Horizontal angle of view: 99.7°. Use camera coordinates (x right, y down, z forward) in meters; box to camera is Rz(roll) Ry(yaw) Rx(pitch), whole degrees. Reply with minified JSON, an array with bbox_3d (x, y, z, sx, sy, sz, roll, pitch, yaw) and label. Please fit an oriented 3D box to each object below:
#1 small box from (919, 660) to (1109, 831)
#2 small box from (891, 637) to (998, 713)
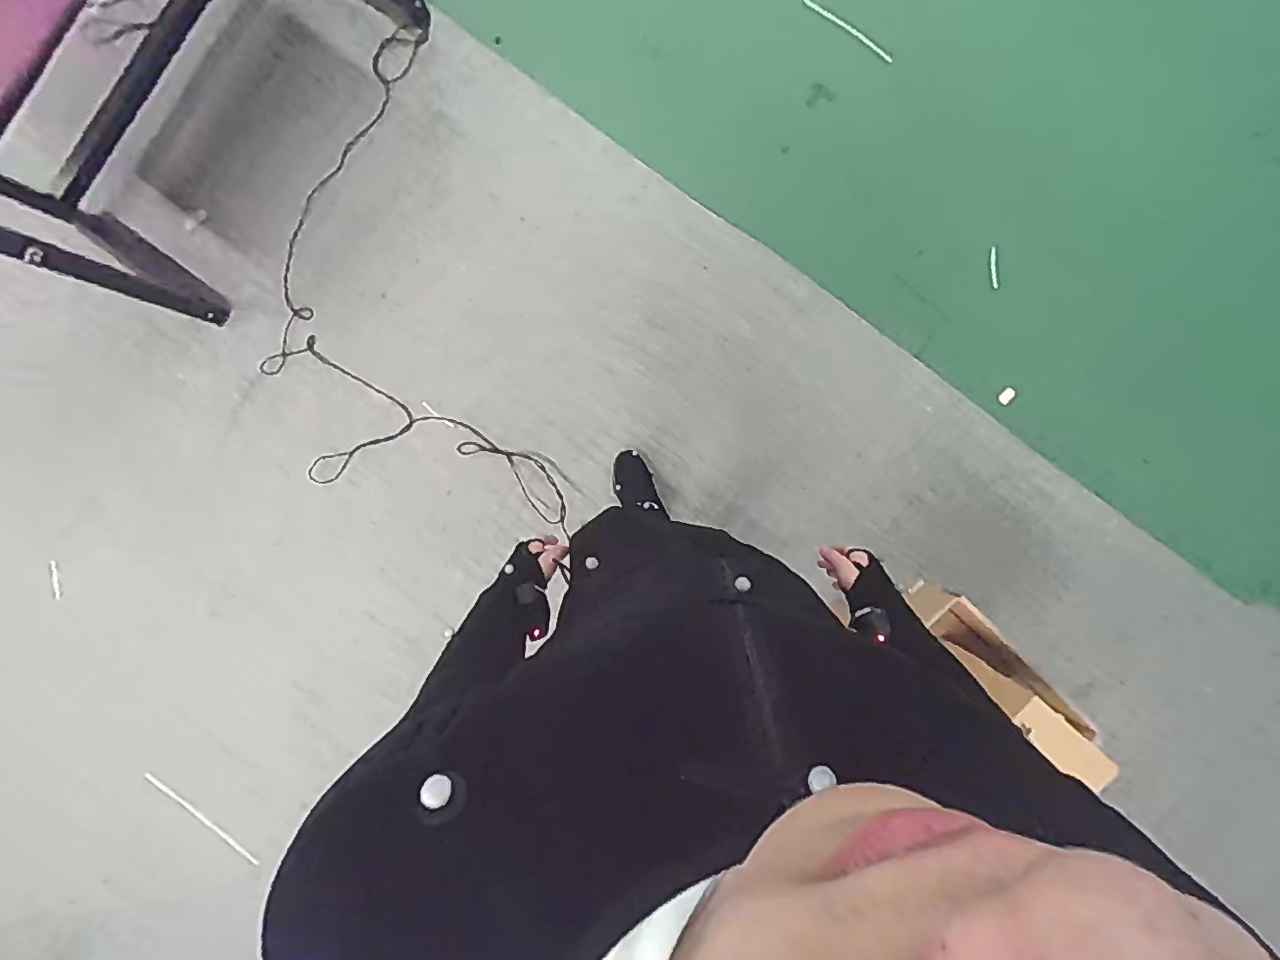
[{"bbox_3d":[0.641,0.452,0.951,0.179,0.176,0.168,42,94,2],"label":"small box"},{"bbox_3d":[0.659,0.448,1.114,0.179,0.176,0.168,44,94,2],"label":"small box"}]
